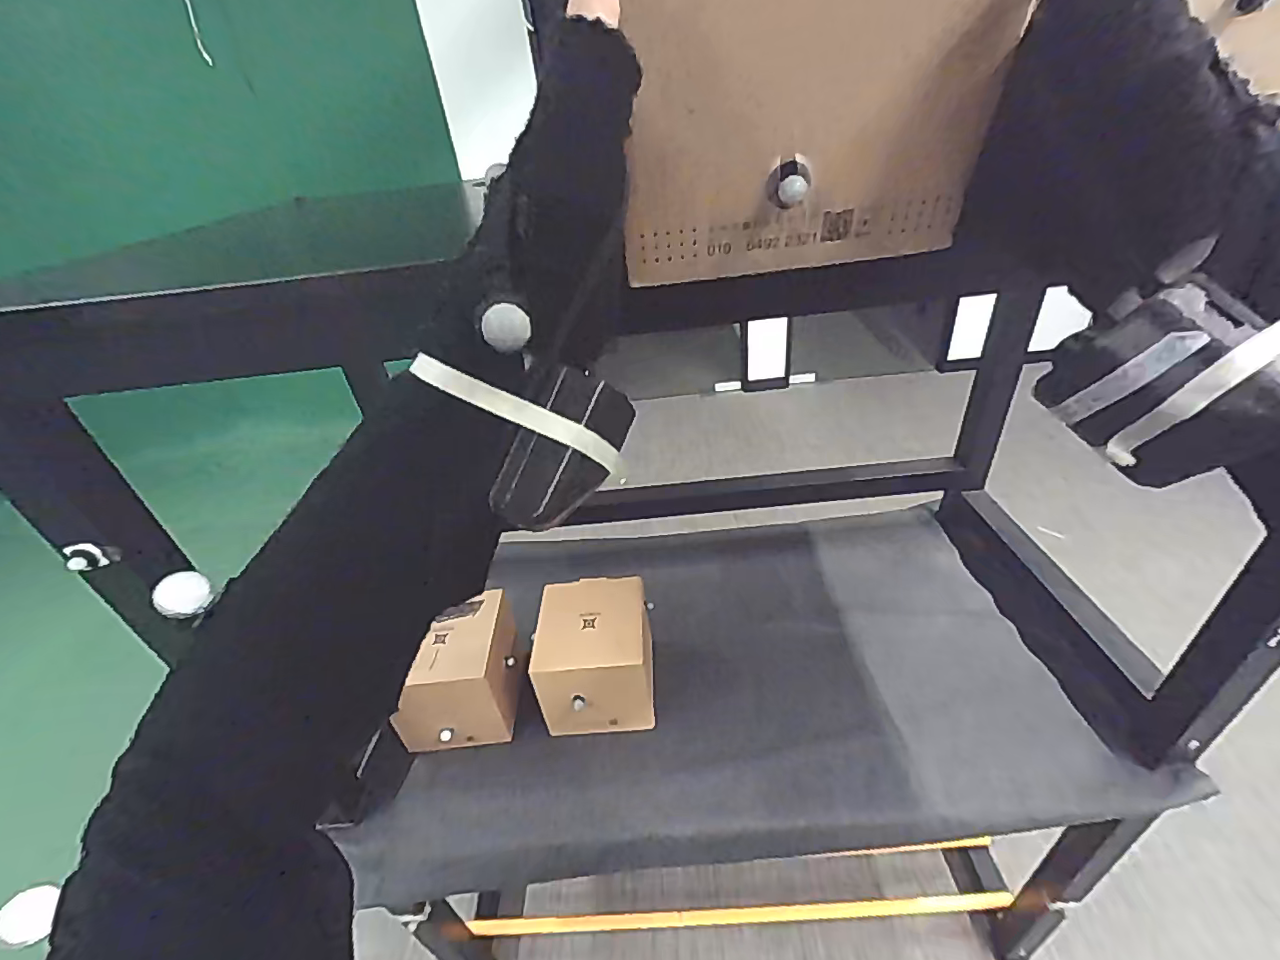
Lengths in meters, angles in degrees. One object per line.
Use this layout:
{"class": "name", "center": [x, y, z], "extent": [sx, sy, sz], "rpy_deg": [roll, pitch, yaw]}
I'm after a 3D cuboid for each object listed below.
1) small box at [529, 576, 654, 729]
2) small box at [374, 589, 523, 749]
{"class": "small box", "center": [-0.068, 0.281, 0.870], "extent": [0.168, 0.176, 0.179], "rpy_deg": [-5, 33, 3]}
{"class": "small box", "center": [-0.294, 0.303, 0.876], "extent": [0.168, 0.176, 0.179], "rpy_deg": [-7, 34, 1]}
